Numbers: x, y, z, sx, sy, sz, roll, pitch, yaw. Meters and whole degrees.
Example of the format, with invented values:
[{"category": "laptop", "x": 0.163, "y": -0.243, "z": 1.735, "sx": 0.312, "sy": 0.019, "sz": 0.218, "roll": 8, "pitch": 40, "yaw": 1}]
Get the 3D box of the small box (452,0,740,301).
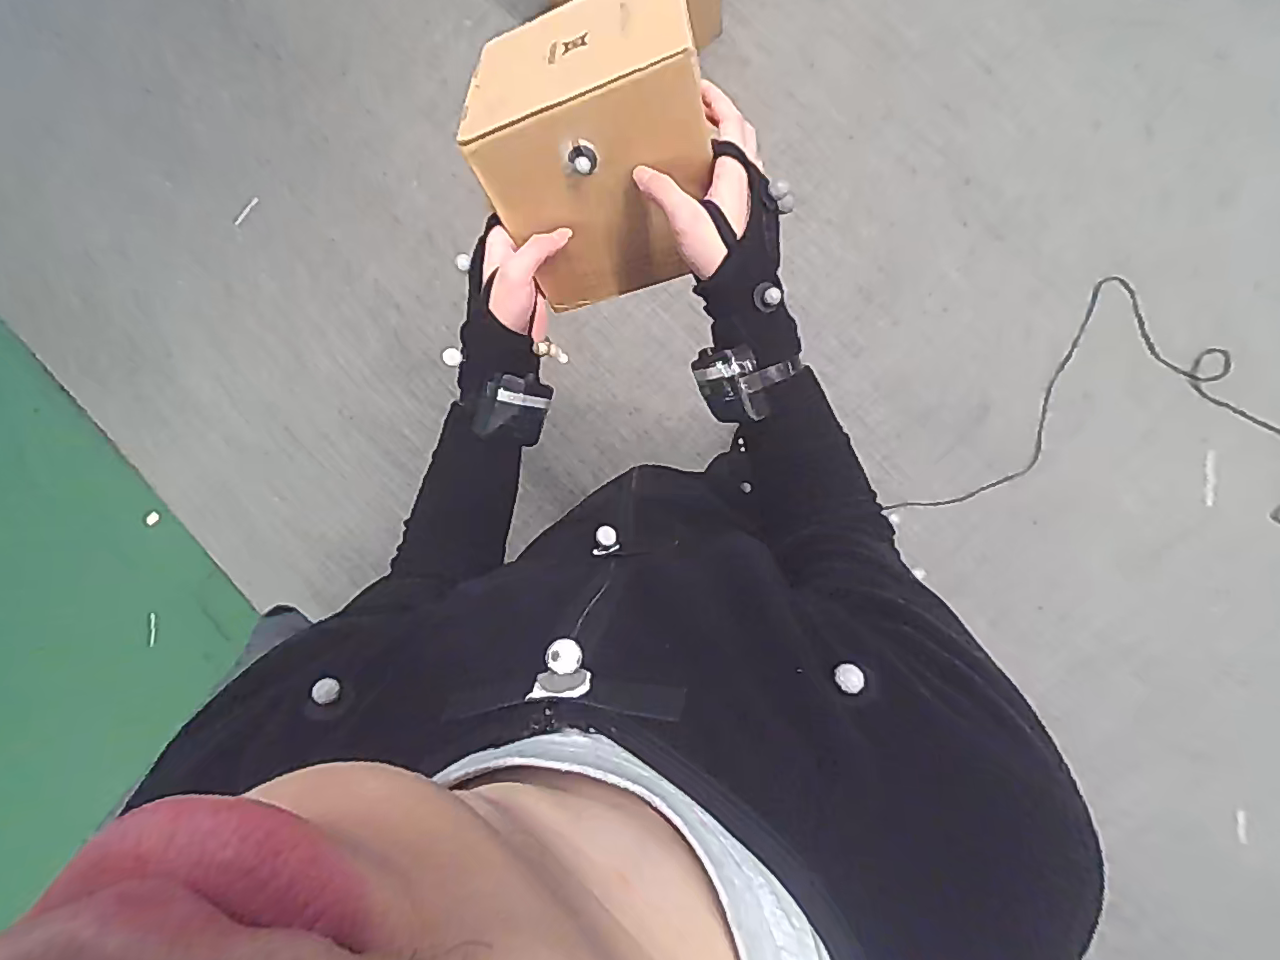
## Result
[{"category": "small box", "x": -0.025, "y": -0.278, "z": 0.452, "sx": 0.179, "sy": 0.176, "sz": 0.168, "roll": -12, "pitch": 57, "yaw": 13}]
